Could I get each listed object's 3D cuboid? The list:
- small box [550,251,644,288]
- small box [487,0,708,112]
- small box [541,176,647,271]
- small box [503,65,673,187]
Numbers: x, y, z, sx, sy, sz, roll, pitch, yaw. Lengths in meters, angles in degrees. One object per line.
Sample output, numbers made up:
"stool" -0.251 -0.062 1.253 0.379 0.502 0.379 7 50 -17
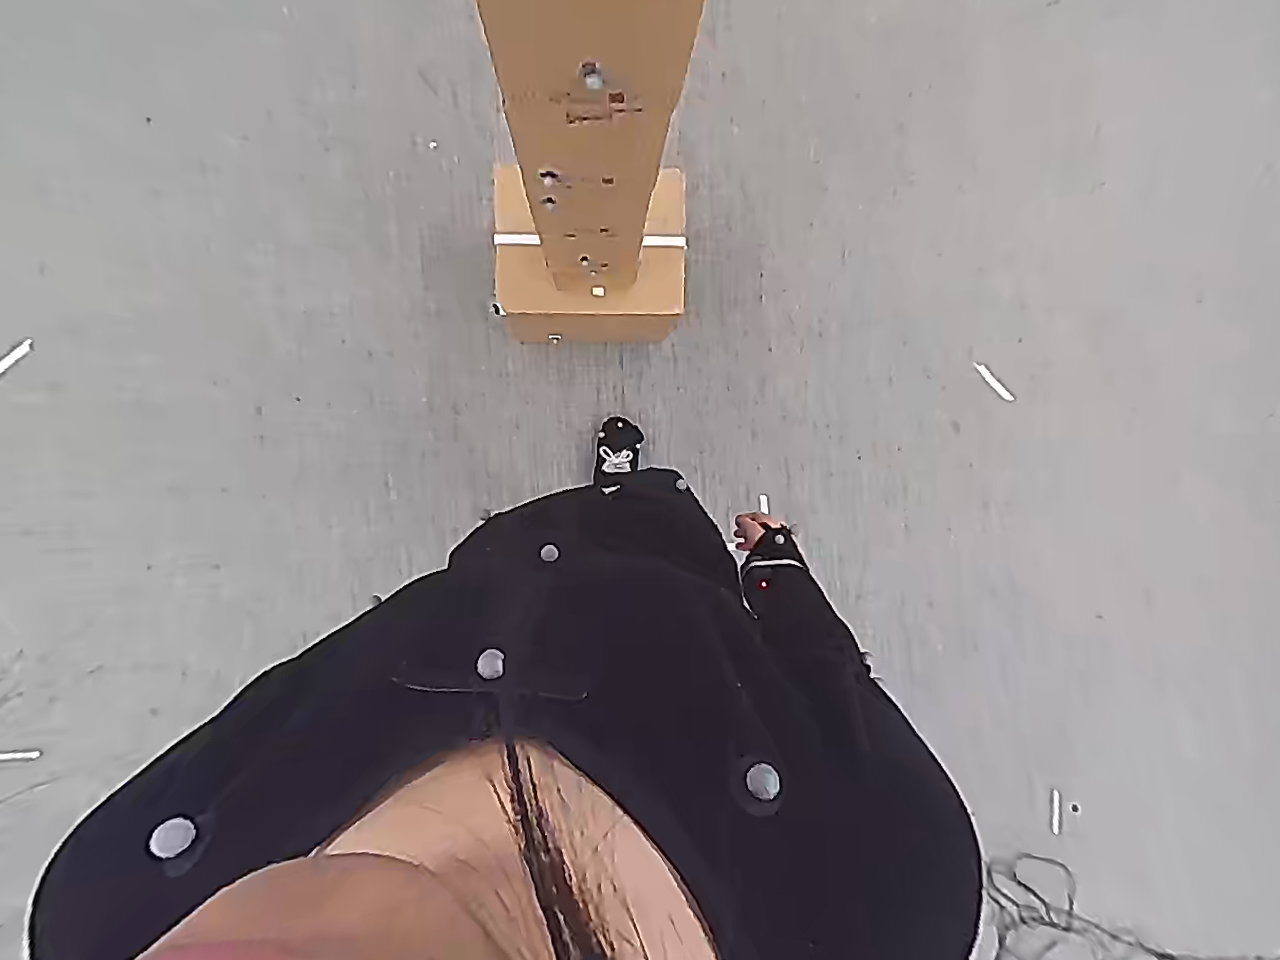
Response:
"small box" -0.089 -0.488 1.076 0.179 0.176 0.168 -4 94 -5
"small box" -0.039 -0.432 0.426 0.168 0.176 0.179 -3 95 -4
"small box" -0.080 -0.470 0.915 0.168 0.176 0.179 -2 95 -4
"small box" -0.052 -0.445 0.589 0.168 0.176 0.179 0 94 -5
